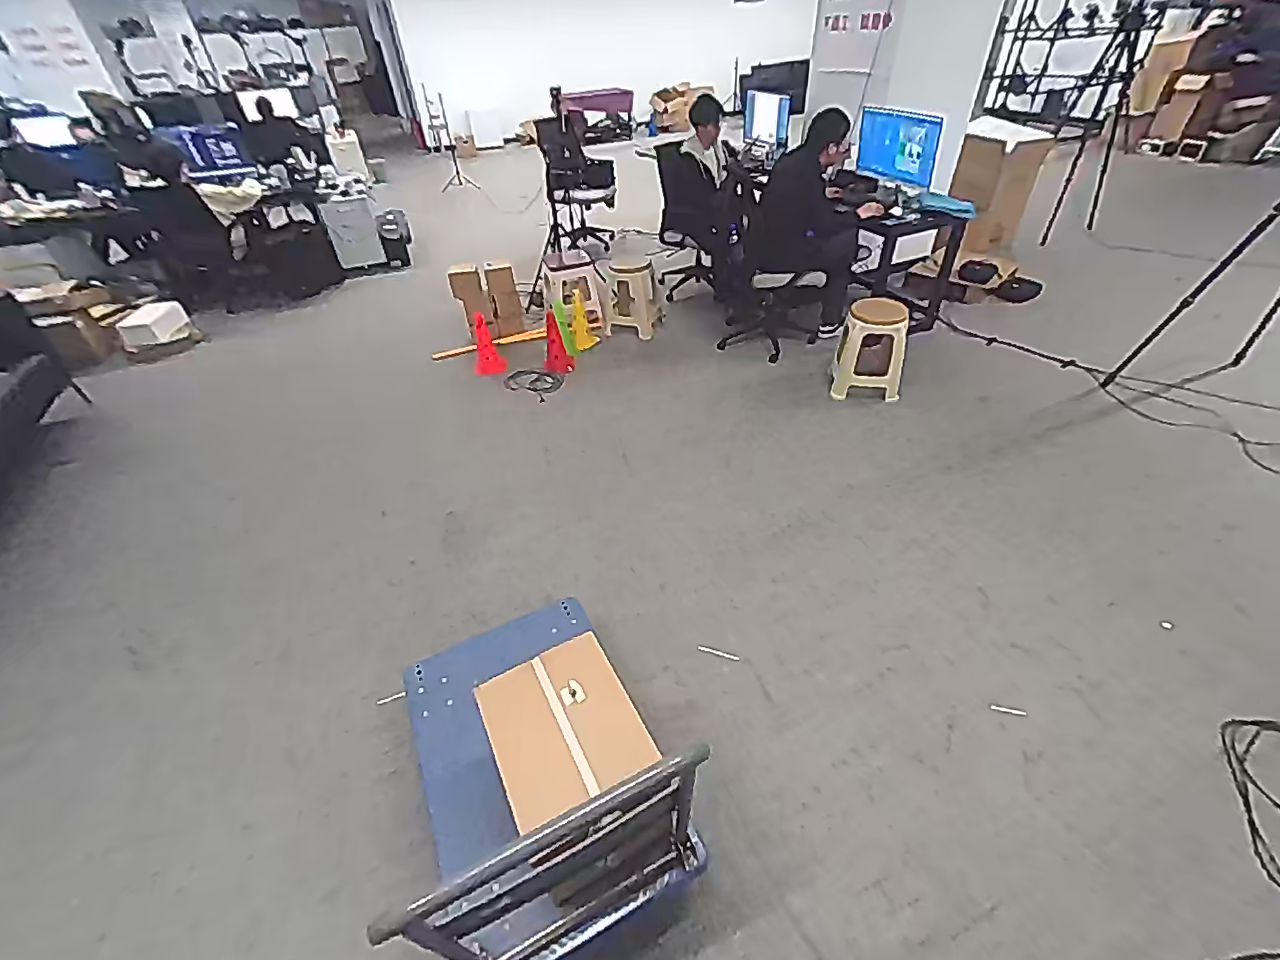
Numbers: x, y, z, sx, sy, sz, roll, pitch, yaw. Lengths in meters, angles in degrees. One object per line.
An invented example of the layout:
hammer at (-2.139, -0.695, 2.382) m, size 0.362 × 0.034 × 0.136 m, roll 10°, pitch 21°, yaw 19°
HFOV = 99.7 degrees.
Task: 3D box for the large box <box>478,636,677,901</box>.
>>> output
large box at (-0.145, 0.669, 1.290) m, size 0.320 × 0.320 × 0.408 m, roll -21°, pitch 43°, yaw -20°
